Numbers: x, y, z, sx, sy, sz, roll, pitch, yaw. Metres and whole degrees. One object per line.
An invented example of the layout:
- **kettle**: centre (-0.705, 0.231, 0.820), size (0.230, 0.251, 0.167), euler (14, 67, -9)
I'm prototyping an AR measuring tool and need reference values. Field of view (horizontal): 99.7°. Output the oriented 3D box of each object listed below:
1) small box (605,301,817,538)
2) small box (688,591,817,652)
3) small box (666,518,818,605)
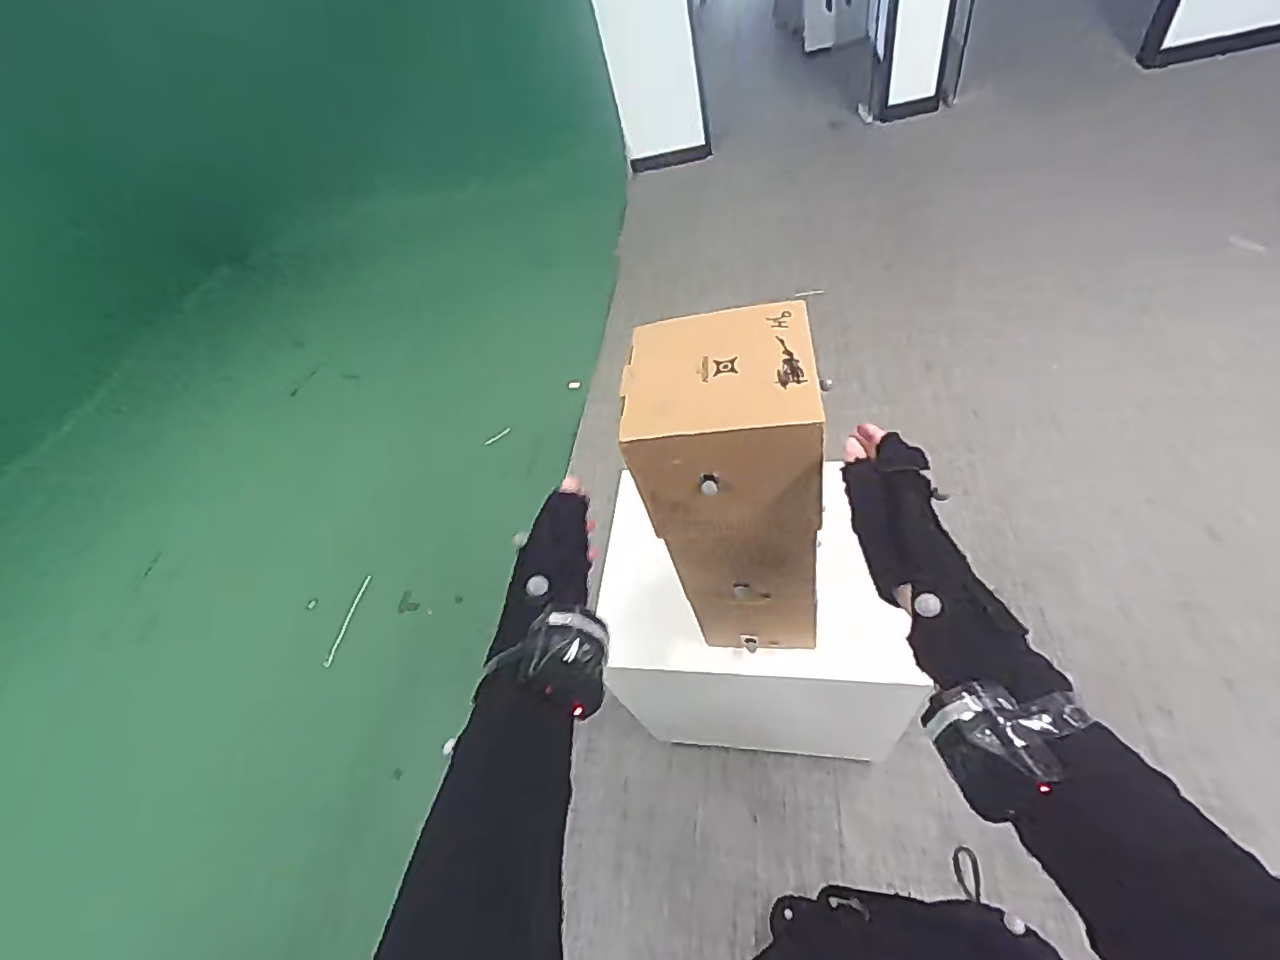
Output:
- **small box**: centre (0.082, -0.052, 0.555), size (0.179, 0.176, 0.168), euler (-5, 52, 16)
- **small box**: centre (0.171, 0.140, 0.805), size (0.168, 0.176, 0.179), euler (-5, 53, 16)
- **small box**: centre (0.129, 0.040, 0.683), size (0.168, 0.176, 0.179), euler (-6, 50, 14)
